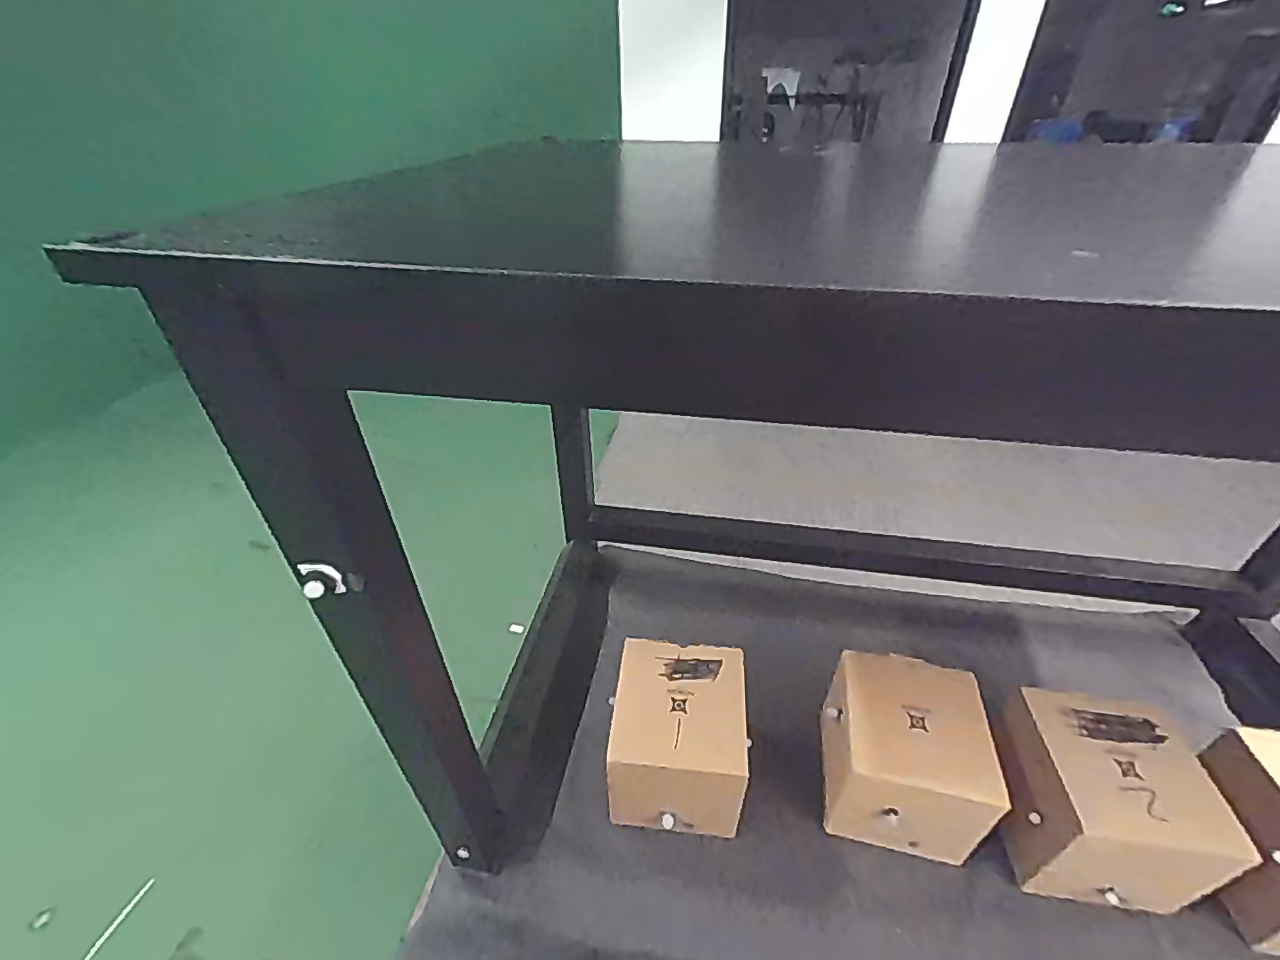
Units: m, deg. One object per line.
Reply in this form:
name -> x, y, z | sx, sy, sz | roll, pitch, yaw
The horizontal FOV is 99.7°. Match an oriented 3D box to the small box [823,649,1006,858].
small box -> 0.343, 0.359, 0.715 | 0.168, 0.176, 0.179 | 8, 36, 11

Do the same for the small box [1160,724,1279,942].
small box -> 0.778, 0.416, 0.622 | 0.168, 0.176, 0.179 | 5, 36, 7

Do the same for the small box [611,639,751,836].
small box -> 0.055, 0.345, 0.735 | 0.168, 0.176, 0.179 | 3, 37, 5
